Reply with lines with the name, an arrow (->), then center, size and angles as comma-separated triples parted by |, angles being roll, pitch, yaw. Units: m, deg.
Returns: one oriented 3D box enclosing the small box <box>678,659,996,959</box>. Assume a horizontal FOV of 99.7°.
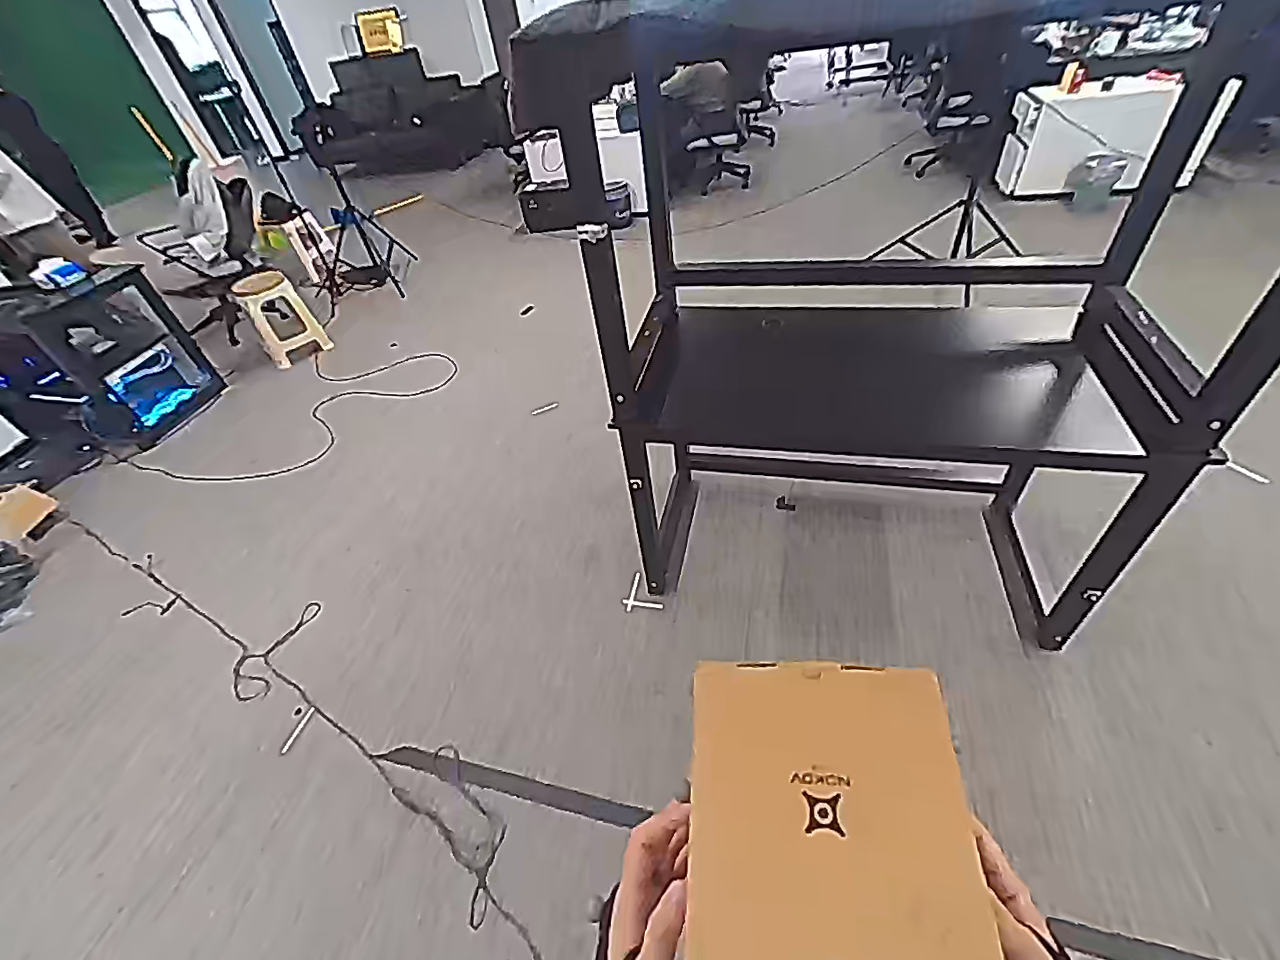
small box -> 0.125, 0.249, 0.392 | 0.168, 0.176, 0.179 | -2, 49, 12
